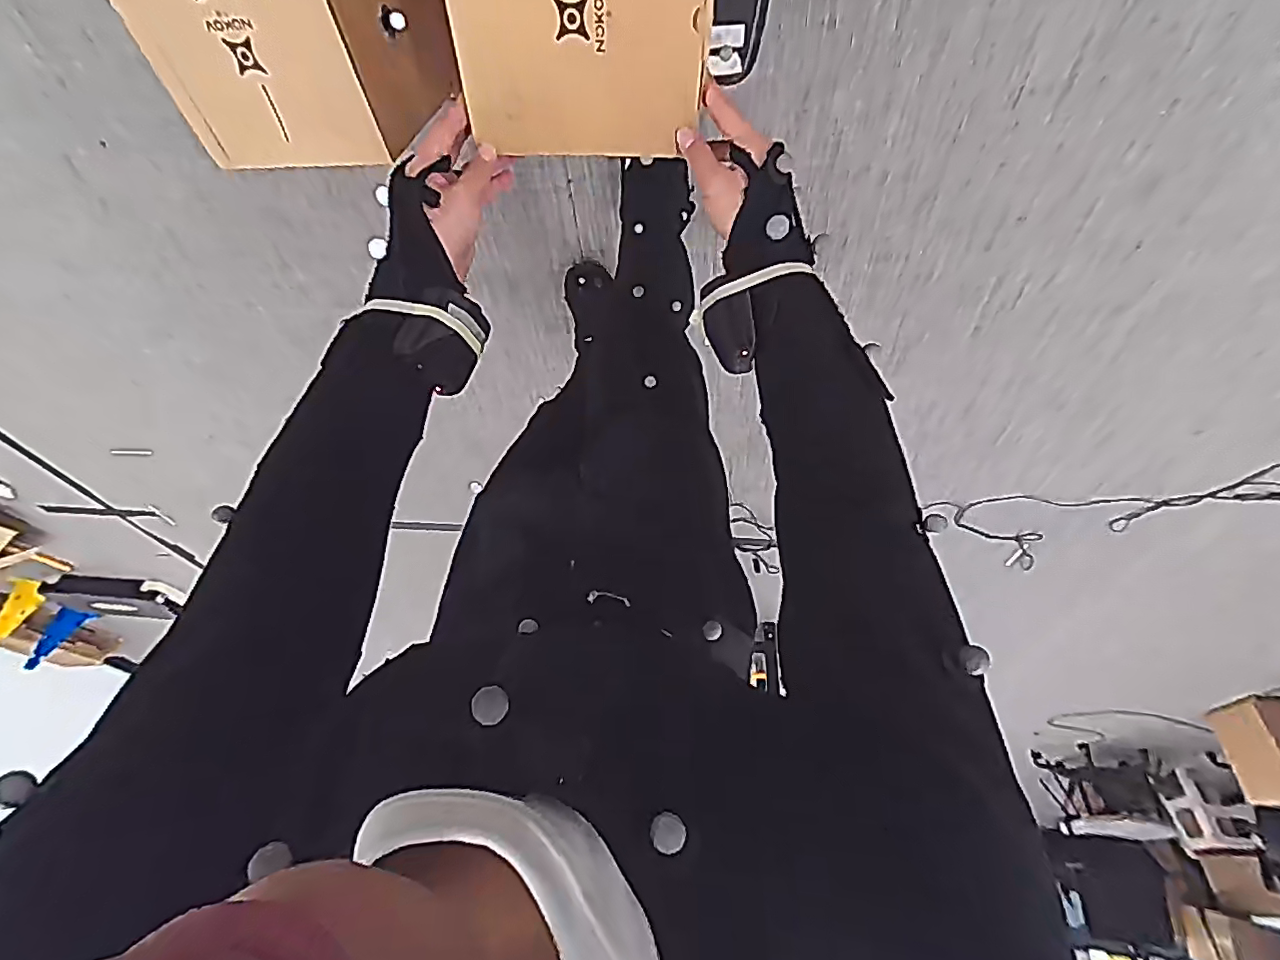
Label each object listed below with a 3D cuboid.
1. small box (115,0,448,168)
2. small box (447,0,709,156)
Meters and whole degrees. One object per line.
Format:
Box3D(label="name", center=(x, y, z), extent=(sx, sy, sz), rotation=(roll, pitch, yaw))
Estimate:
Box3D(label="small box", center=(-0.284, -0.387, 0.447), extent=(0.168, 0.176, 0.179), rotation=(2, 143, 6))
Box3D(label="small box", center=(-0.042, -0.370, 0.417), extent=(0.179, 0.176, 0.168), rotation=(-1, 139, -1))
